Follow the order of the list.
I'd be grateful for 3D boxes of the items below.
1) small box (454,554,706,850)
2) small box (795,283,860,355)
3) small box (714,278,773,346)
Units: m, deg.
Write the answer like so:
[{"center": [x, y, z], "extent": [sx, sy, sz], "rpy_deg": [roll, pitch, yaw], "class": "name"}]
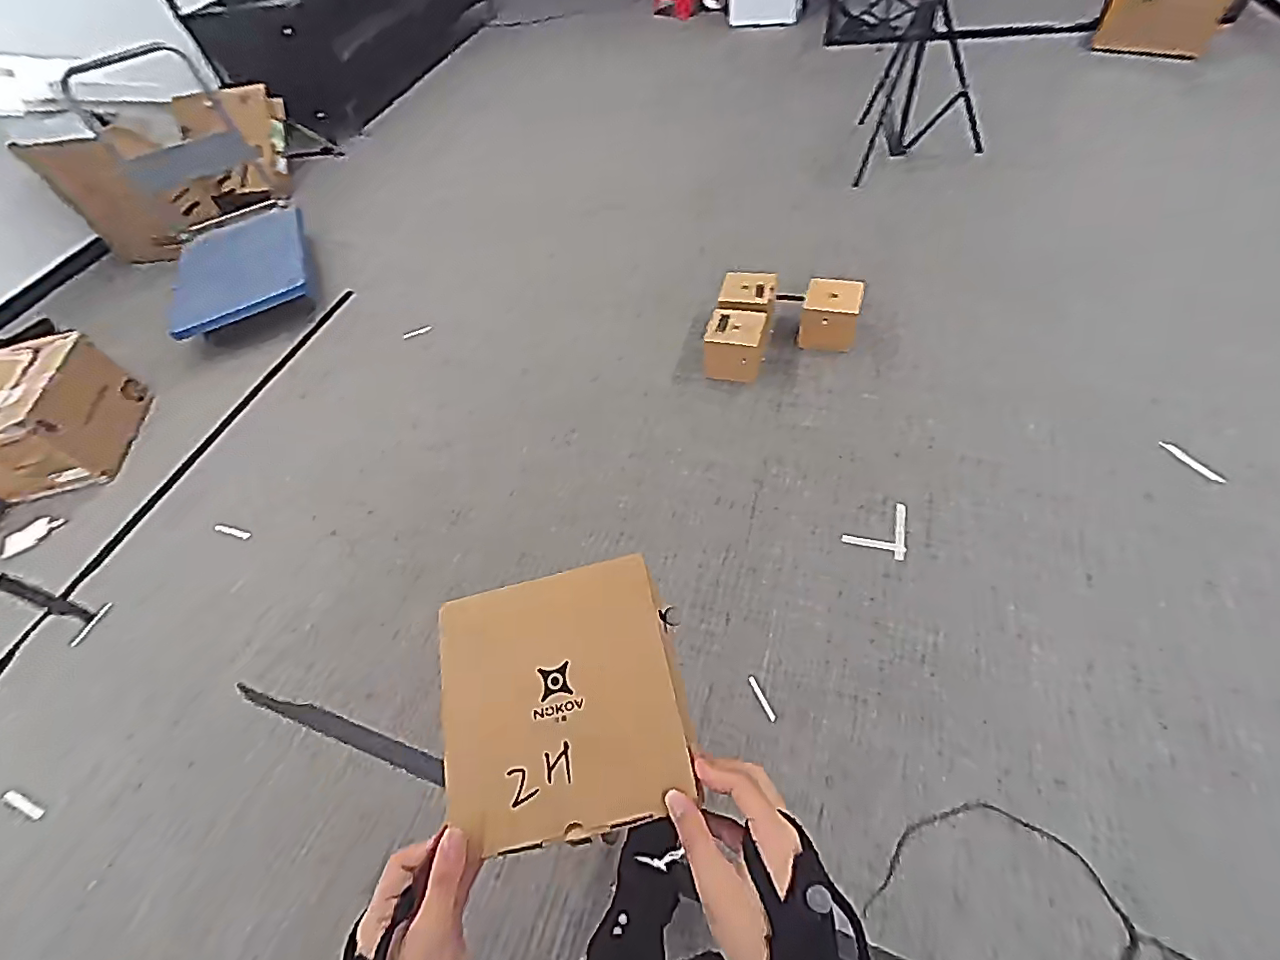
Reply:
[{"center": [-0.044, 0.186, 0.461], "extent": [0.168, 0.176, 0.179], "rpy_deg": [-14, 63, 2], "class": "small box"}, {"center": [0.641, -0.549, 1.857], "extent": [0.179, 0.176, 0.168], "rpy_deg": [11, 58, 19], "class": "small box"}, {"center": [0.374, -0.600, 1.941], "extent": [0.179, 0.176, 0.168], "rpy_deg": [10, 58, 18], "class": "small box"}]
